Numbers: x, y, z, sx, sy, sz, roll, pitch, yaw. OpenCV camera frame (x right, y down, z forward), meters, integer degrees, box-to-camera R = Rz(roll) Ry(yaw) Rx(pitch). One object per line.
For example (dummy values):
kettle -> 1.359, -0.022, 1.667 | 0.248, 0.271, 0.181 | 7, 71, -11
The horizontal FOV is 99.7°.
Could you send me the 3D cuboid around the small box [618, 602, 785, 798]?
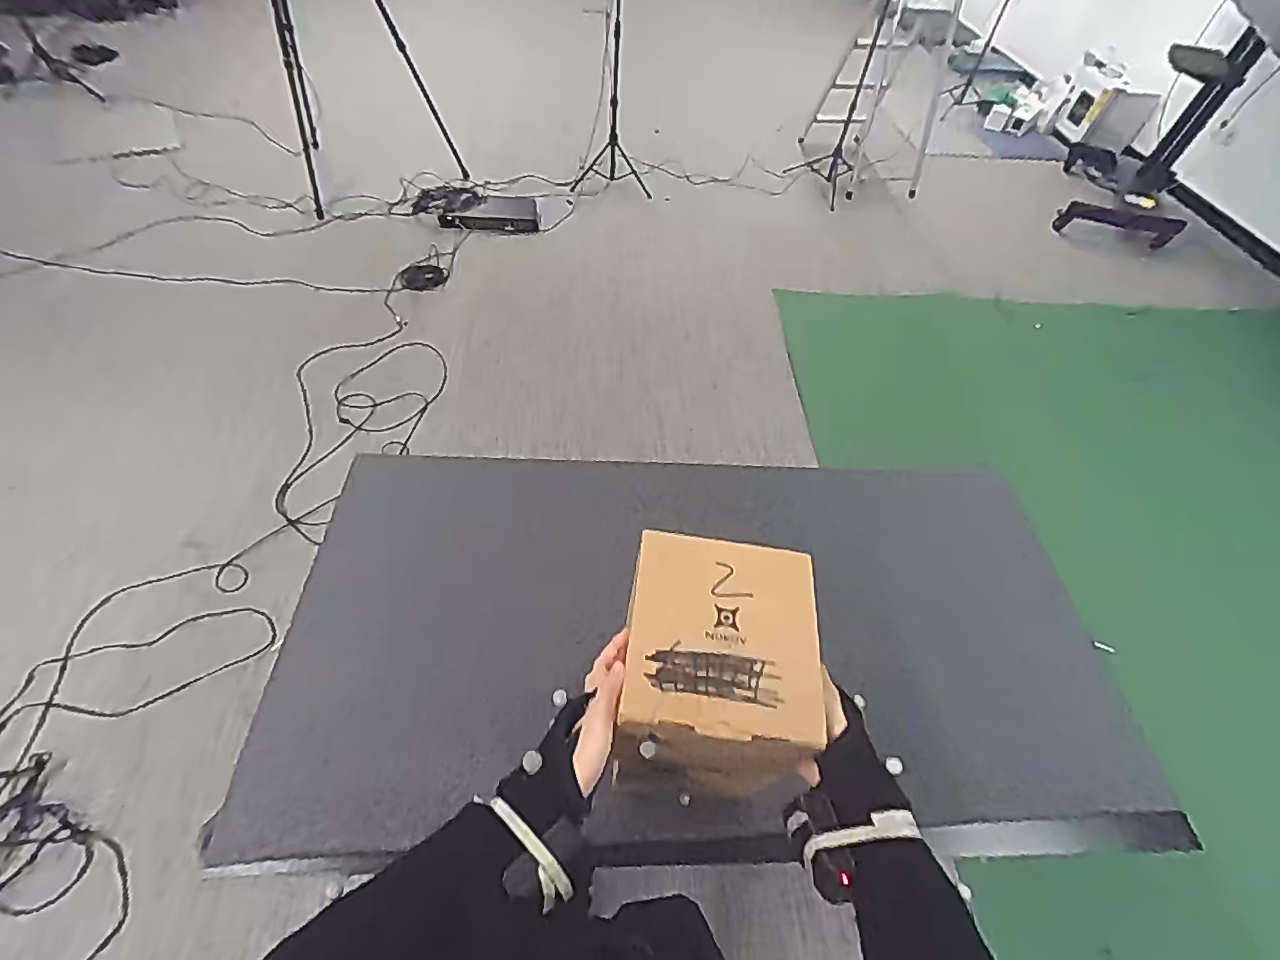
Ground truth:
small box -> 0.063, 0.270, 0.656 | 0.168, 0.176, 0.179 | 5, 53, -2
